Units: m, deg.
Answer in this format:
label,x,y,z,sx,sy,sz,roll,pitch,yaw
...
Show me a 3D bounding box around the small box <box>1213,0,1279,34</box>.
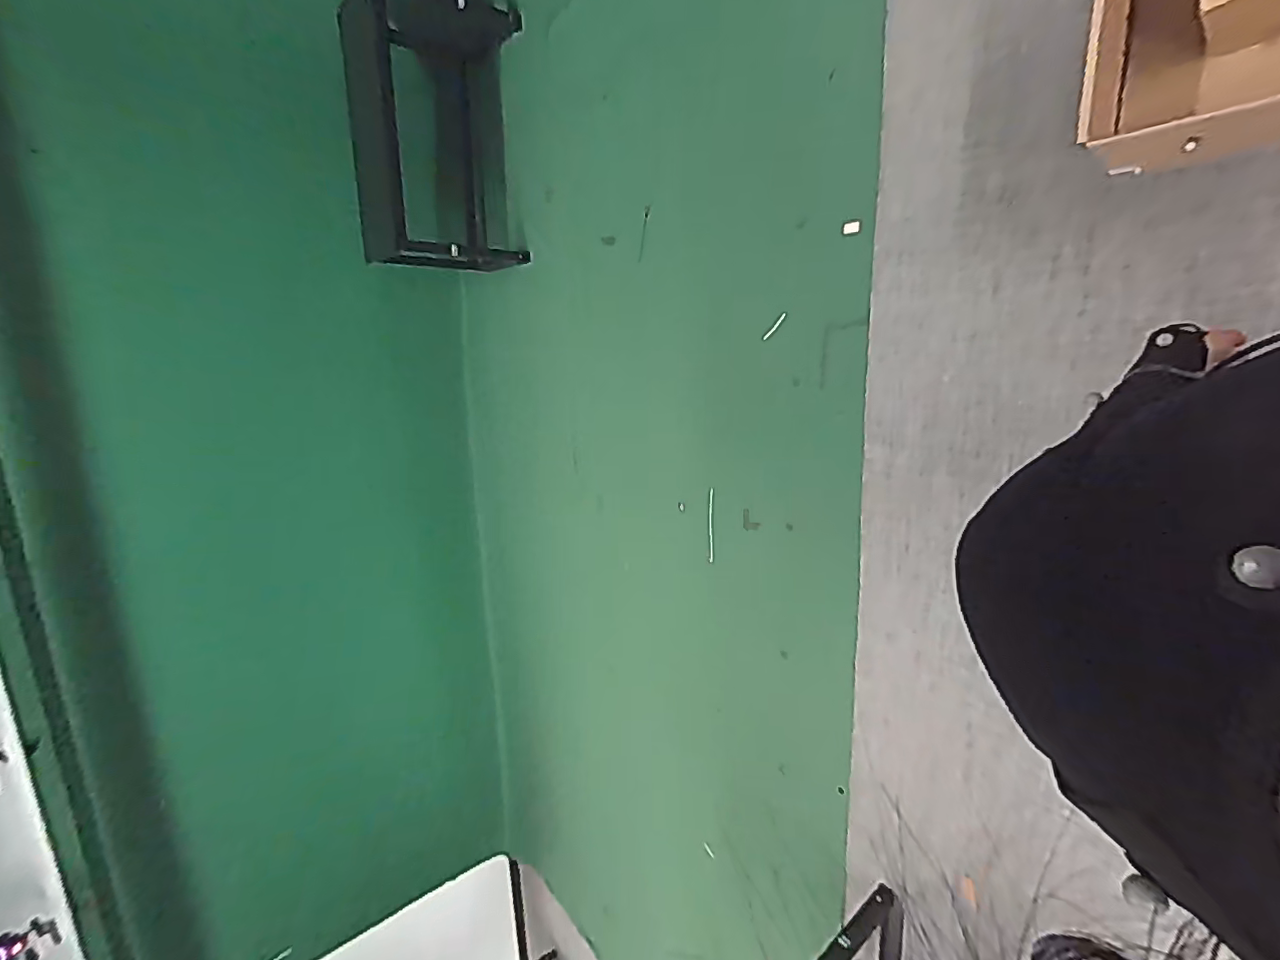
label,x,y,z,sx,sy,sz,roll,pitch,yaw
small box,0.758,-0.653,0.596,0.168,0.176,0.179,7,105,51
